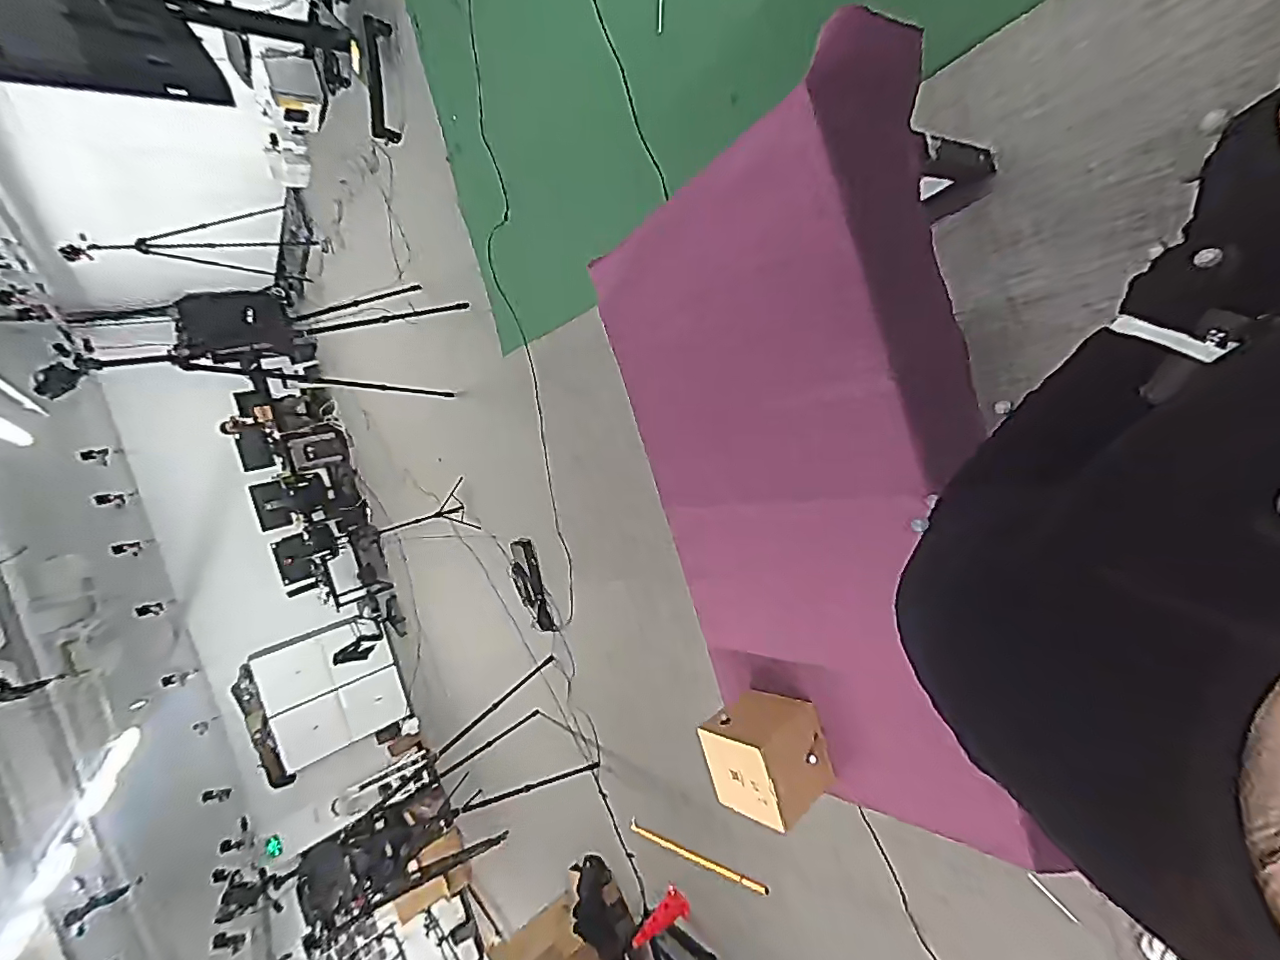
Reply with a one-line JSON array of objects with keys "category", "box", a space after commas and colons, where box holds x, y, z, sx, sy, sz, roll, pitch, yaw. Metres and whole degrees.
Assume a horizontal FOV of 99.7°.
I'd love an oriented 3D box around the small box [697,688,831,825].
[{"category": "small box", "box": [0.251, 0.543, 1.094, 0.179, 0.176, 0.168, -14, 94, 53]}]
